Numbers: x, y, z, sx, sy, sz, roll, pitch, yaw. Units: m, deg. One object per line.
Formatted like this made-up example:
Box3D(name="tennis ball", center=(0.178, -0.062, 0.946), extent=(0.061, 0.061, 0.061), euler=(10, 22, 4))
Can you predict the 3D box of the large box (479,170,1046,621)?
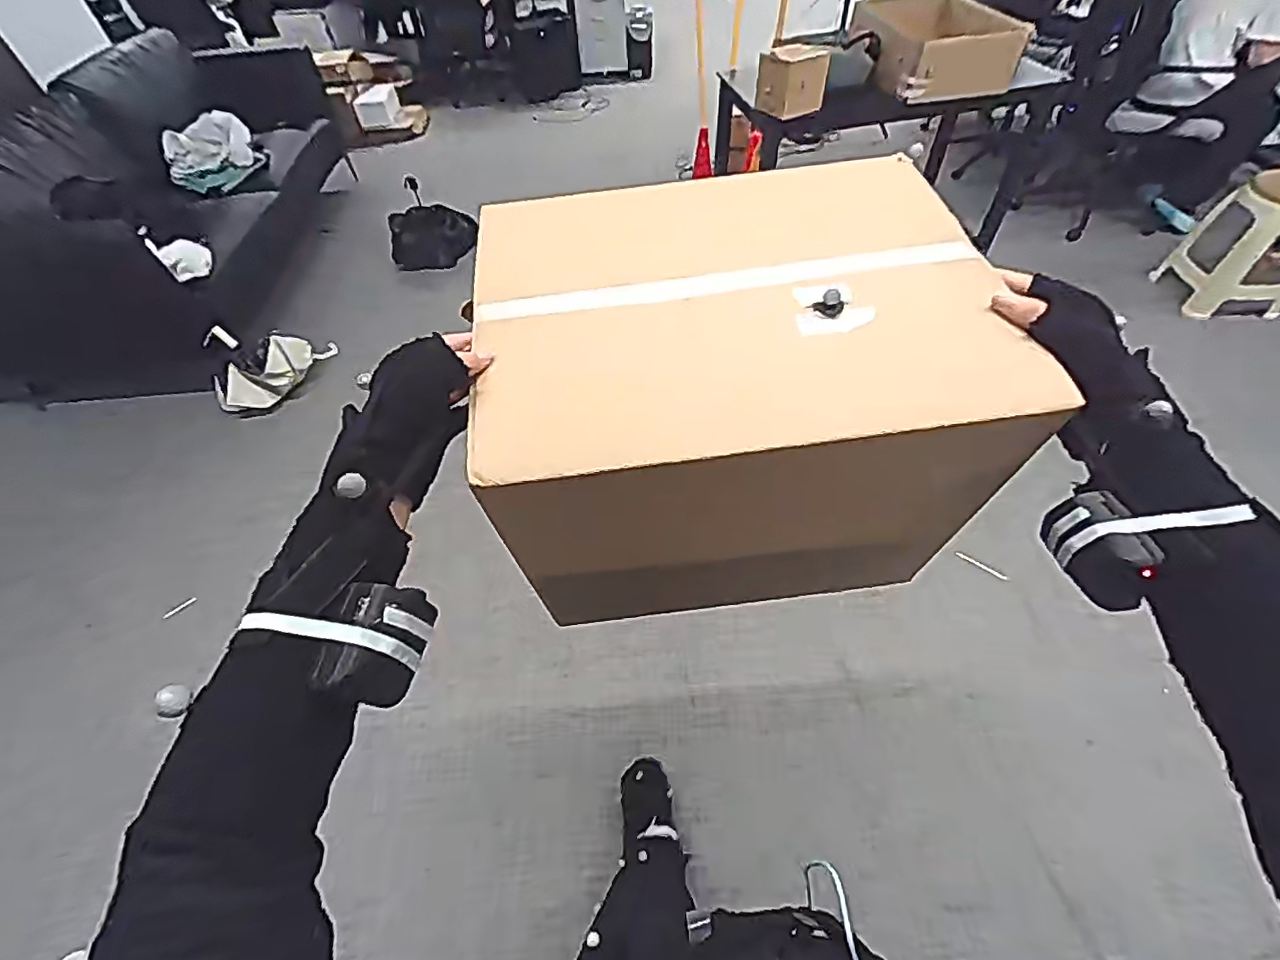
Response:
Box3D(name="large box", center=(0.073, -0.071, 0.570), extent=(0.408, 0.320, 0.320), euler=(-8, 59, -1))
